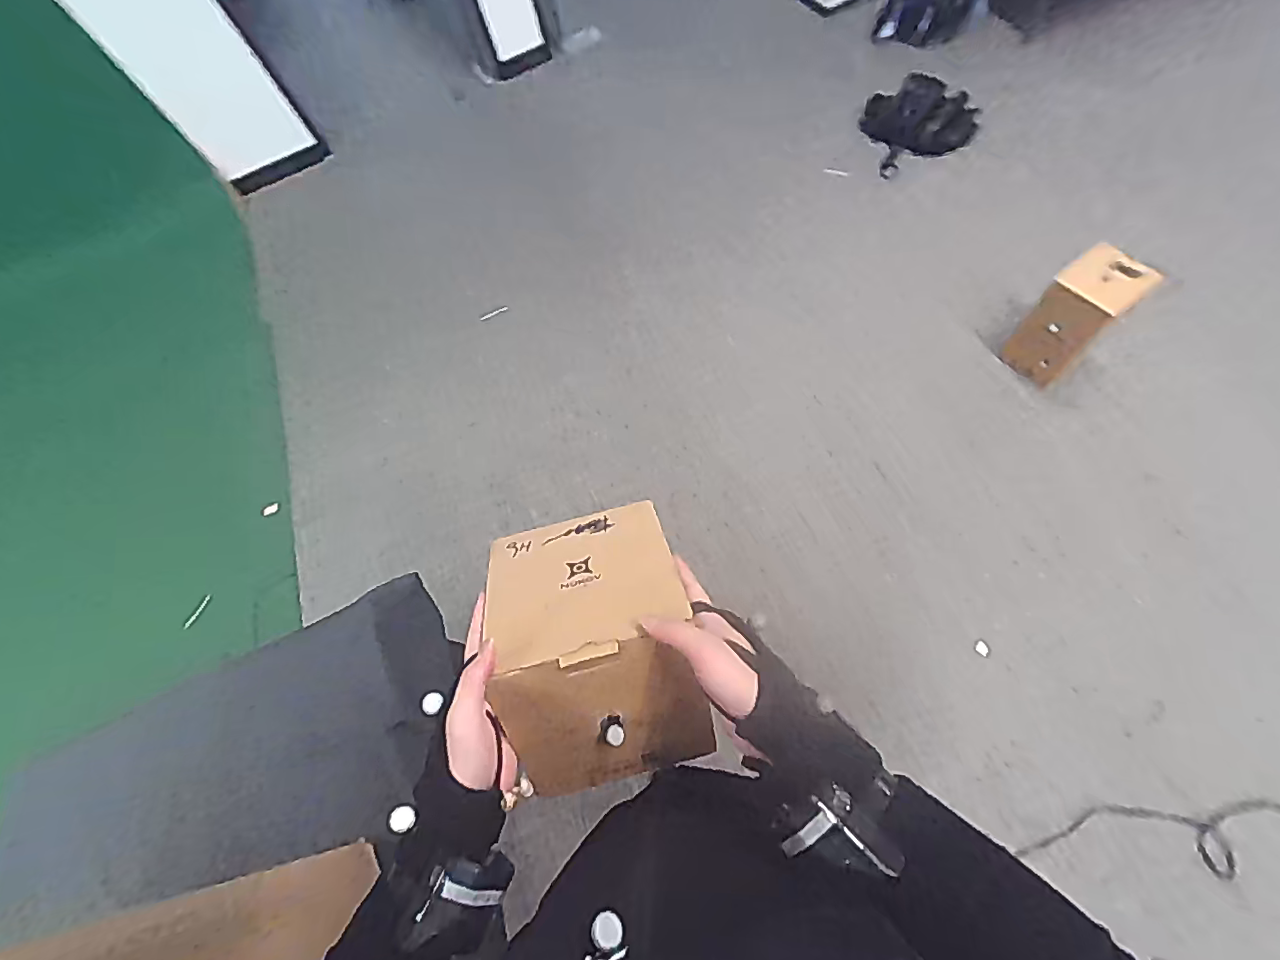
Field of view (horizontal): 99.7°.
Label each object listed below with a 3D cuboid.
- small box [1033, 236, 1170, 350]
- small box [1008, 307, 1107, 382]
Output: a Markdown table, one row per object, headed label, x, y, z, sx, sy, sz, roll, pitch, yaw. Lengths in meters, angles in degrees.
| label | x | y | z | sx | sy | sz | roll | pitch | yaw |
| --- | --- | --- | --- | --- | --- | --- | --- | --- | --- |
| small box | 1.160 | -0.472 | 1.378 | 0.179 | 0.176 | 0.168 | -37 | 65 | -5 |
| small box | 1.187 | -0.412 | 1.529 | 0.179 | 0.176 | 0.168 | -37 | 65 | -8 |
